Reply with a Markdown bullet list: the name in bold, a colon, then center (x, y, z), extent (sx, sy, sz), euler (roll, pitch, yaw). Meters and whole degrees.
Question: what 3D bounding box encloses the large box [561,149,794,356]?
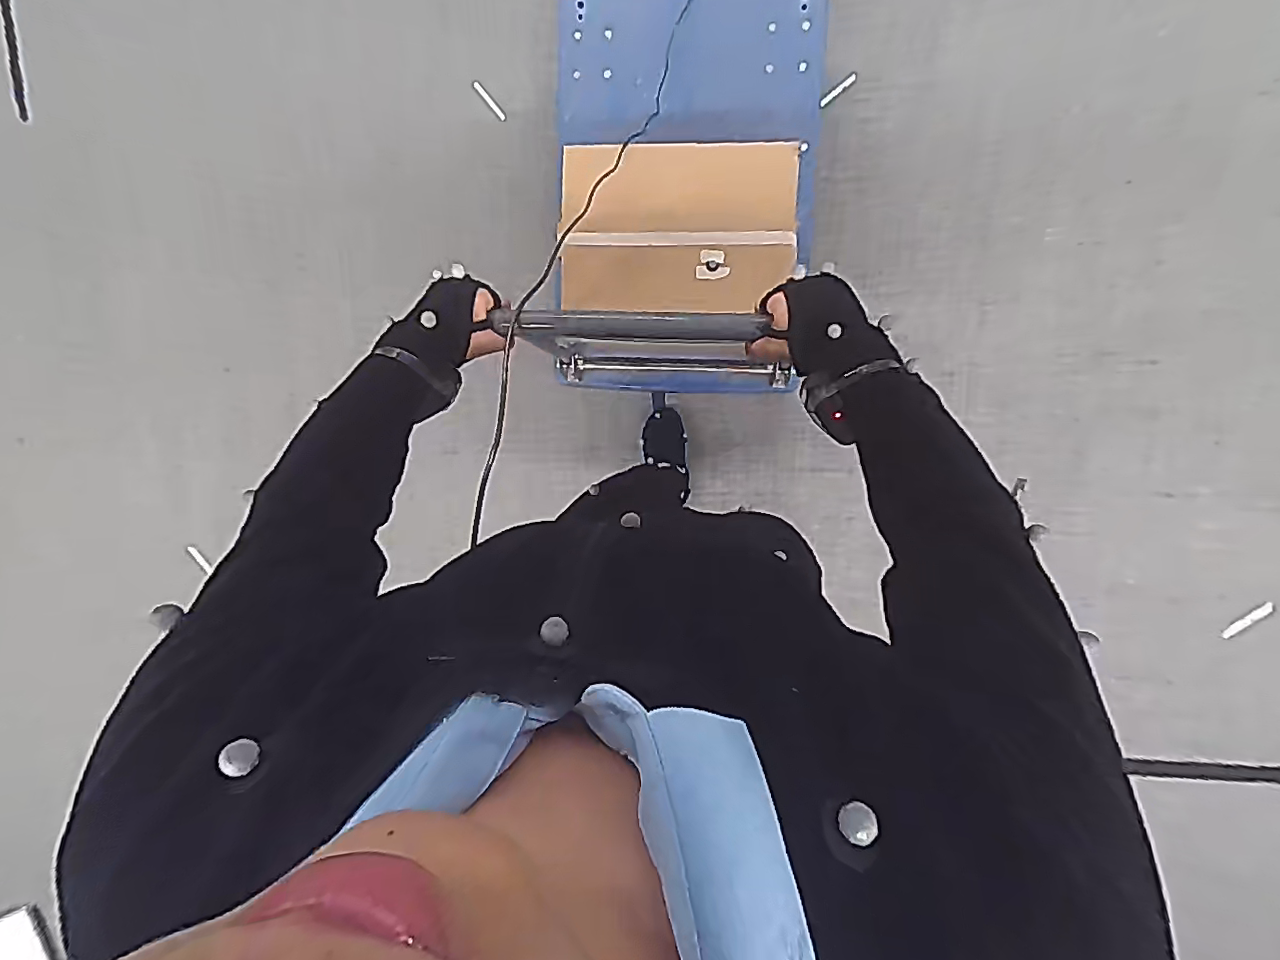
- **large box**: center (0.070, -0.422, 1.082), extent (0.408, 0.320, 0.320), euler (3, 97, 5)
